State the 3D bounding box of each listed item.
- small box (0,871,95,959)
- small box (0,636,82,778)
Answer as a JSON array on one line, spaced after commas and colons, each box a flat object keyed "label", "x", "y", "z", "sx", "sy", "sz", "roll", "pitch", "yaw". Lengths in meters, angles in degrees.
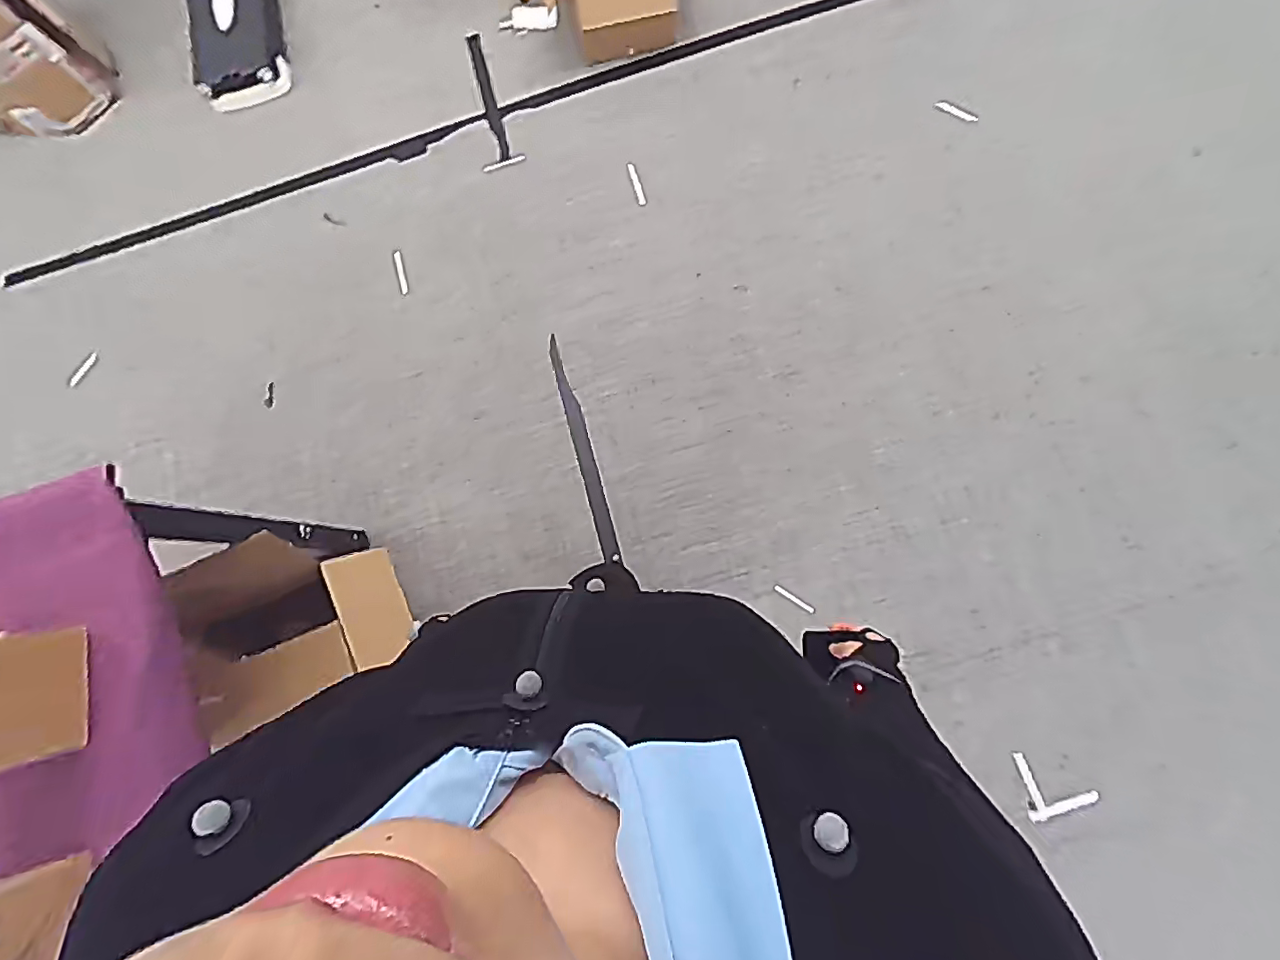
[{"label": "small box", "x": -0.832, "y": 0.622, "z": 0.663, "sx": 0.168, "sy": 0.176, "sz": 0.179, "roll": -20, "pitch": 79, "yaw": 3}, {"label": "small box", "x": -0.912, "y": 0.320, "z": 0.726, "sx": 0.168, "sy": 0.176, "sz": 0.179, "roll": -12, "pitch": 79, "yaw": 2}]
